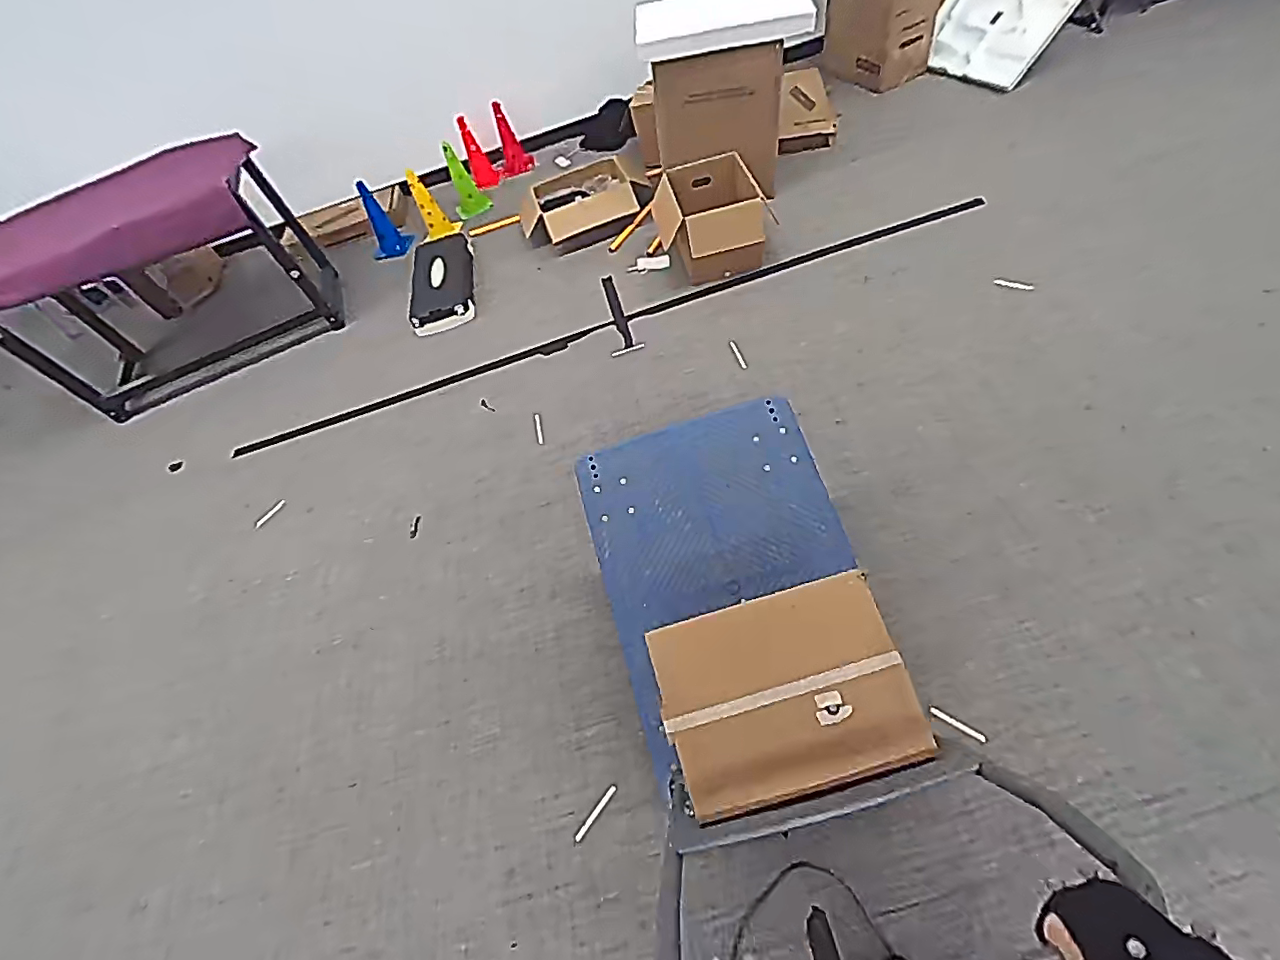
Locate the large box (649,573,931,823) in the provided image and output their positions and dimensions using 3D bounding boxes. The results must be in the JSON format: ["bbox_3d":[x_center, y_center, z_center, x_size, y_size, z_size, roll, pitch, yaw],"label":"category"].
[{"bbox_3d":[0.261,0.411,1.070,0.408,0.320,0.320,-17,72,1],"label":"large box"}]
